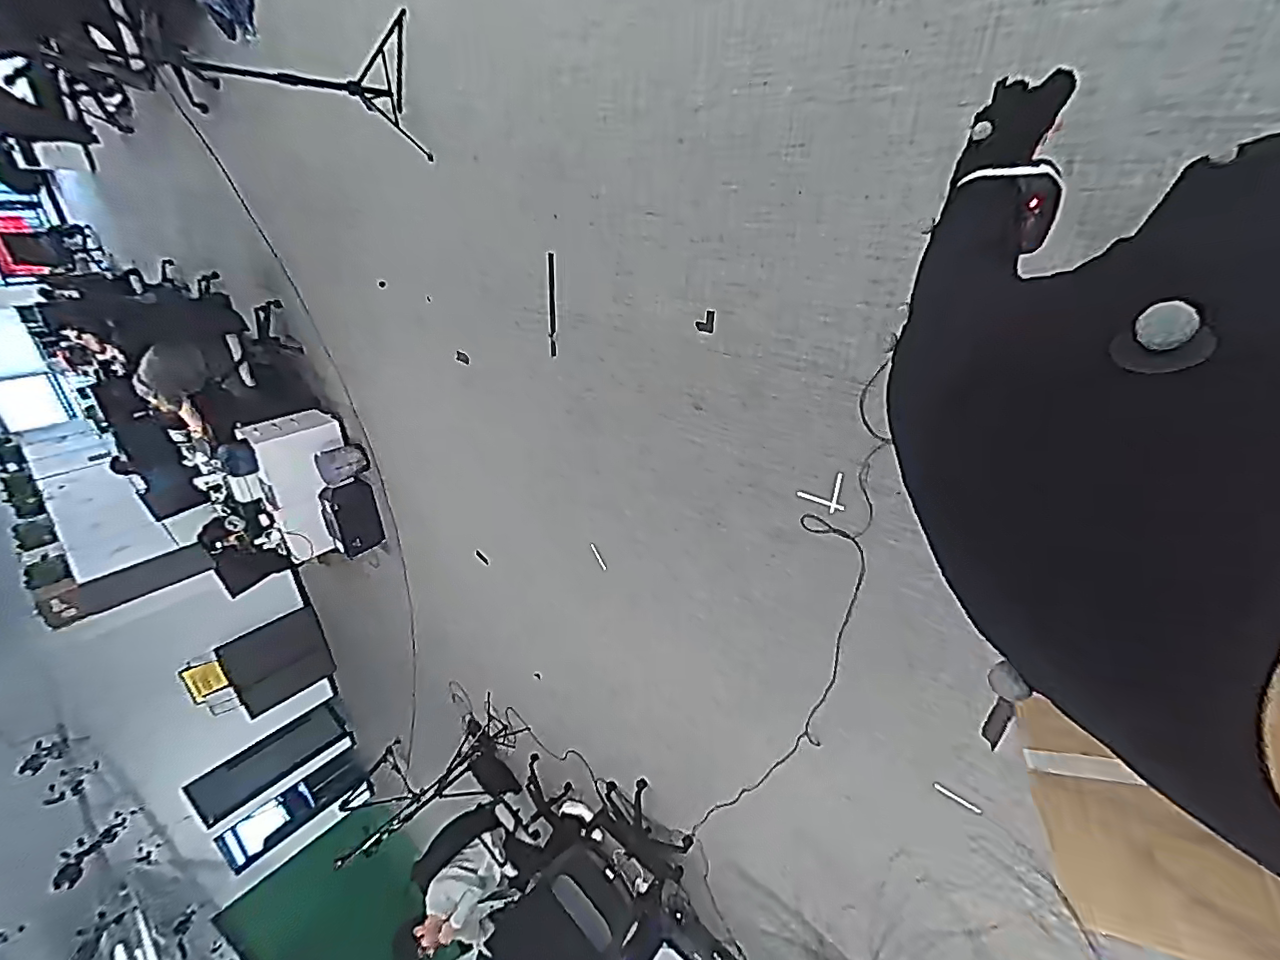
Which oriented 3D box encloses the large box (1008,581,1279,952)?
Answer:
[{"bbox_3d":[0.697,0.270,0.559,0.408,0.320,0.320,-25,63,50],"label":"large box"}]
